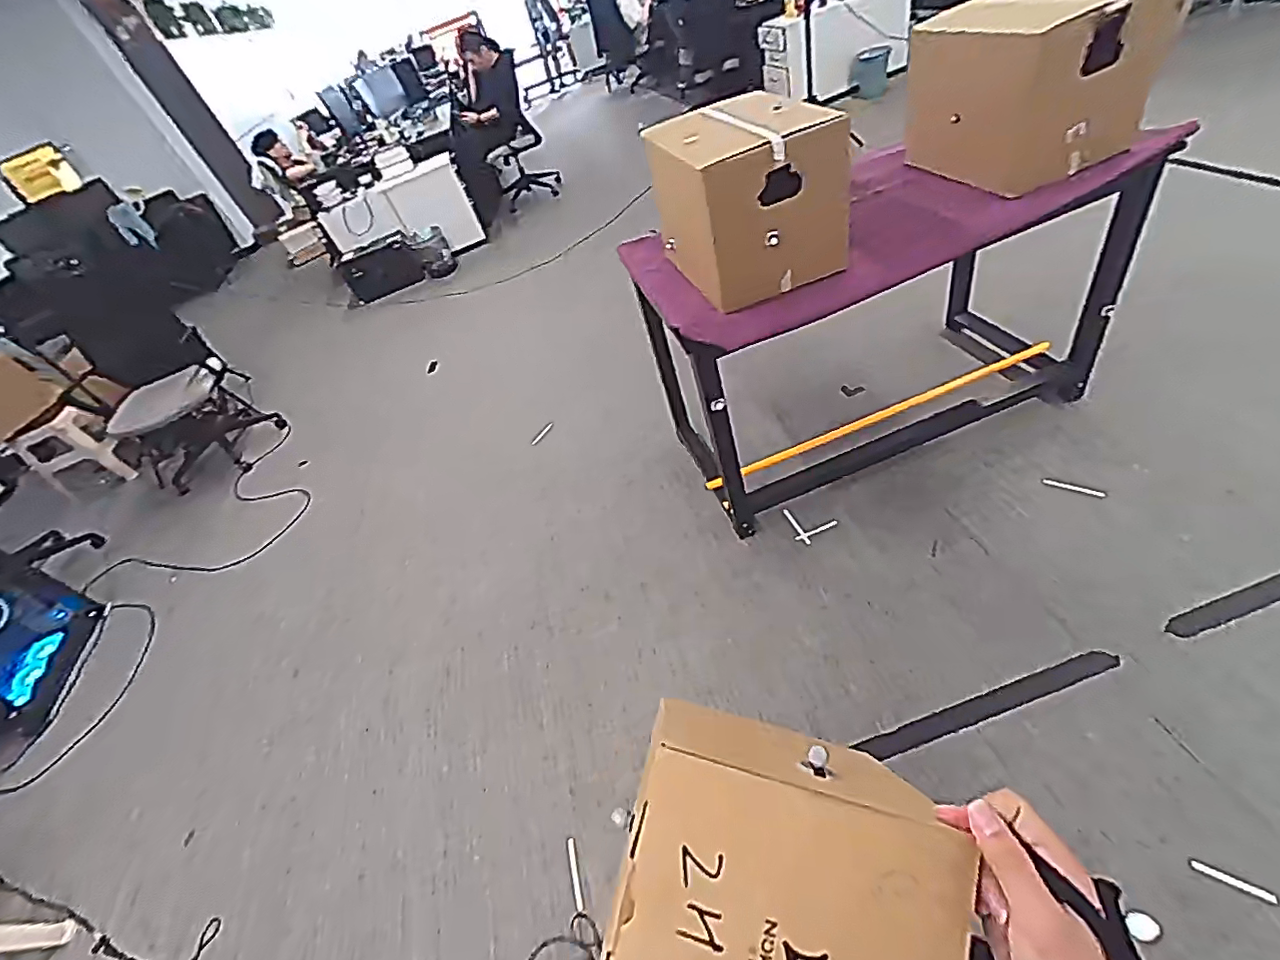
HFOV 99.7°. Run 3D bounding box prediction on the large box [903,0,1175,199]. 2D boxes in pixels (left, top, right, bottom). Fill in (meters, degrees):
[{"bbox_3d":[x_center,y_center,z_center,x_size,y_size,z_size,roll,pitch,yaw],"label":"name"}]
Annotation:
[{"bbox_3d":[0.882,-0.908,1.267,0.320,0.320,0.408,-23,42,-1],"label":"large box"}]
